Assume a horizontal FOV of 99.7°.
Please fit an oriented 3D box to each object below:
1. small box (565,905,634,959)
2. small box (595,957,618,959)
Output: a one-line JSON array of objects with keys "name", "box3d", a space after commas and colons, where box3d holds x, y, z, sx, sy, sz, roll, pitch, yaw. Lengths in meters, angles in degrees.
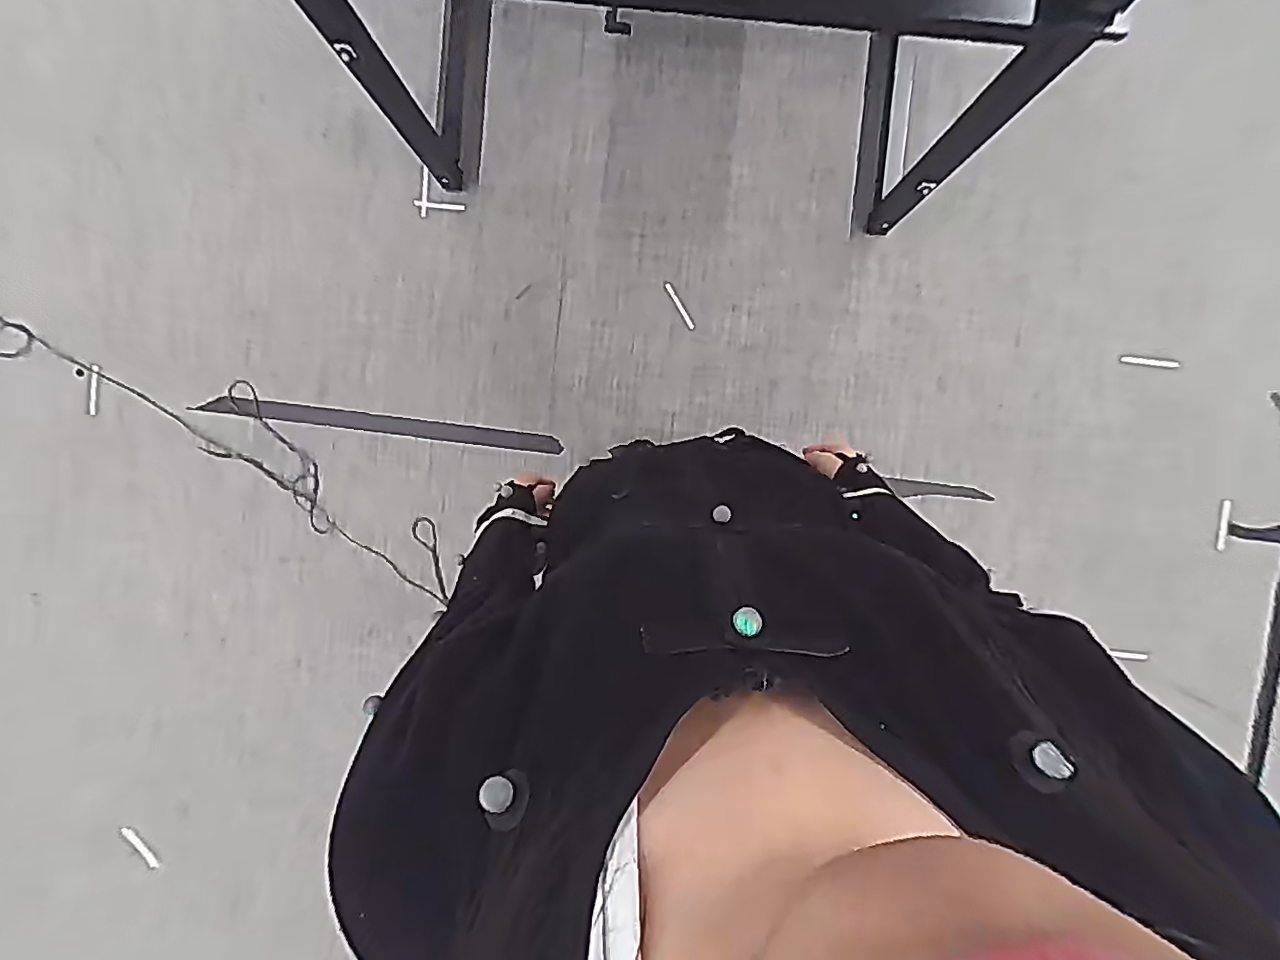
[{"name": "small box", "box3d": [-0.106, 1.301, 1.470, 0.168, 0.176, 0.179, -8, 93, 1]}, {"name": "small box", "box3d": [-0.113, 1.317, 1.306, 0.168, 0.176, 0.179, -7, 93, -1]}]
